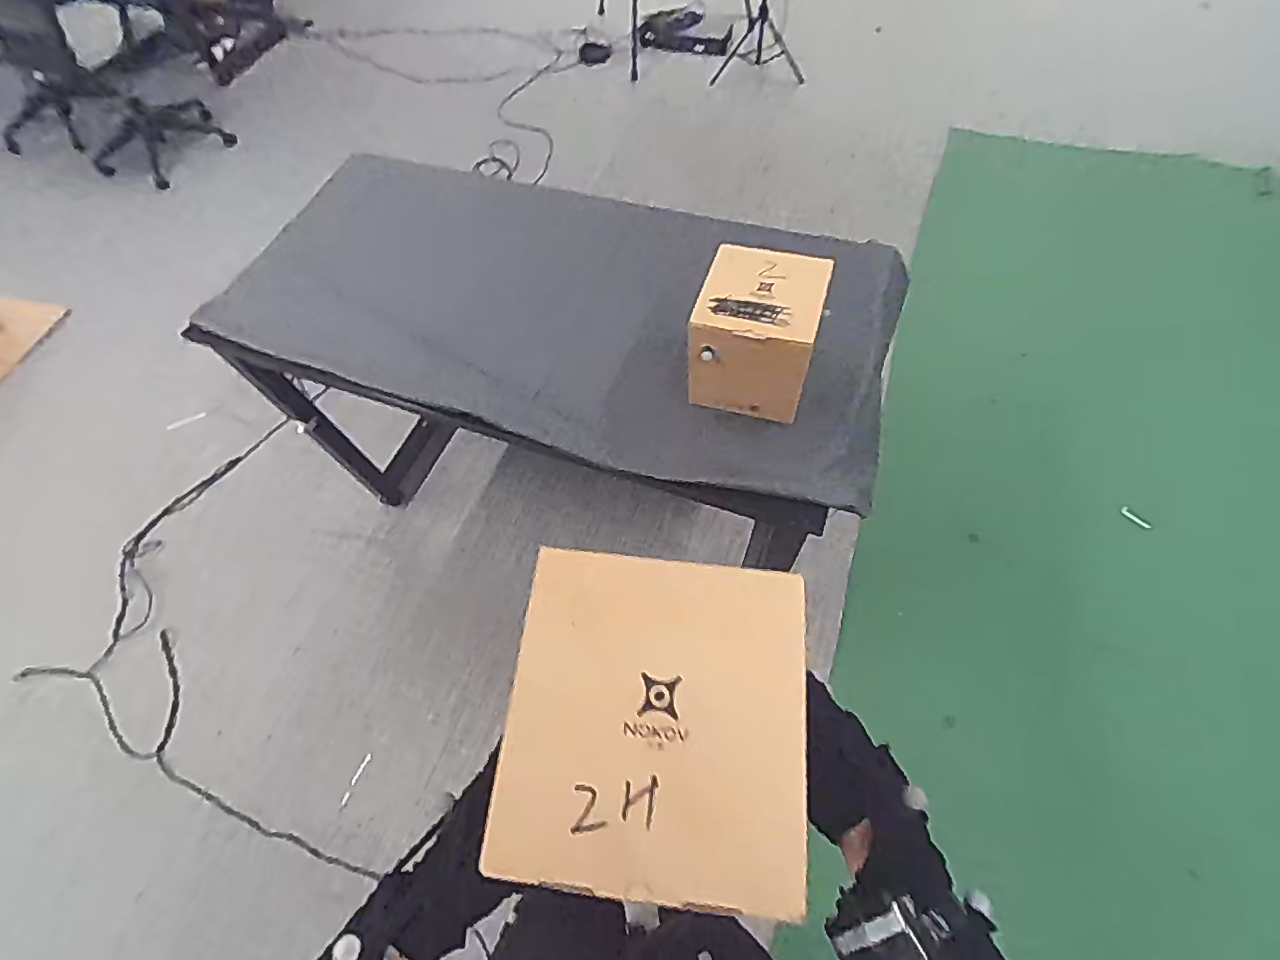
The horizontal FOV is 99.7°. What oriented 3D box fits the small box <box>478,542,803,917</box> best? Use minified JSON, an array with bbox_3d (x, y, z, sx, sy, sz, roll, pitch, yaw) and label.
[{"bbox_3d":[0.009,0.159,0.373,0.168,0.176,0.179,5,66,4],"label":"small box"}]
